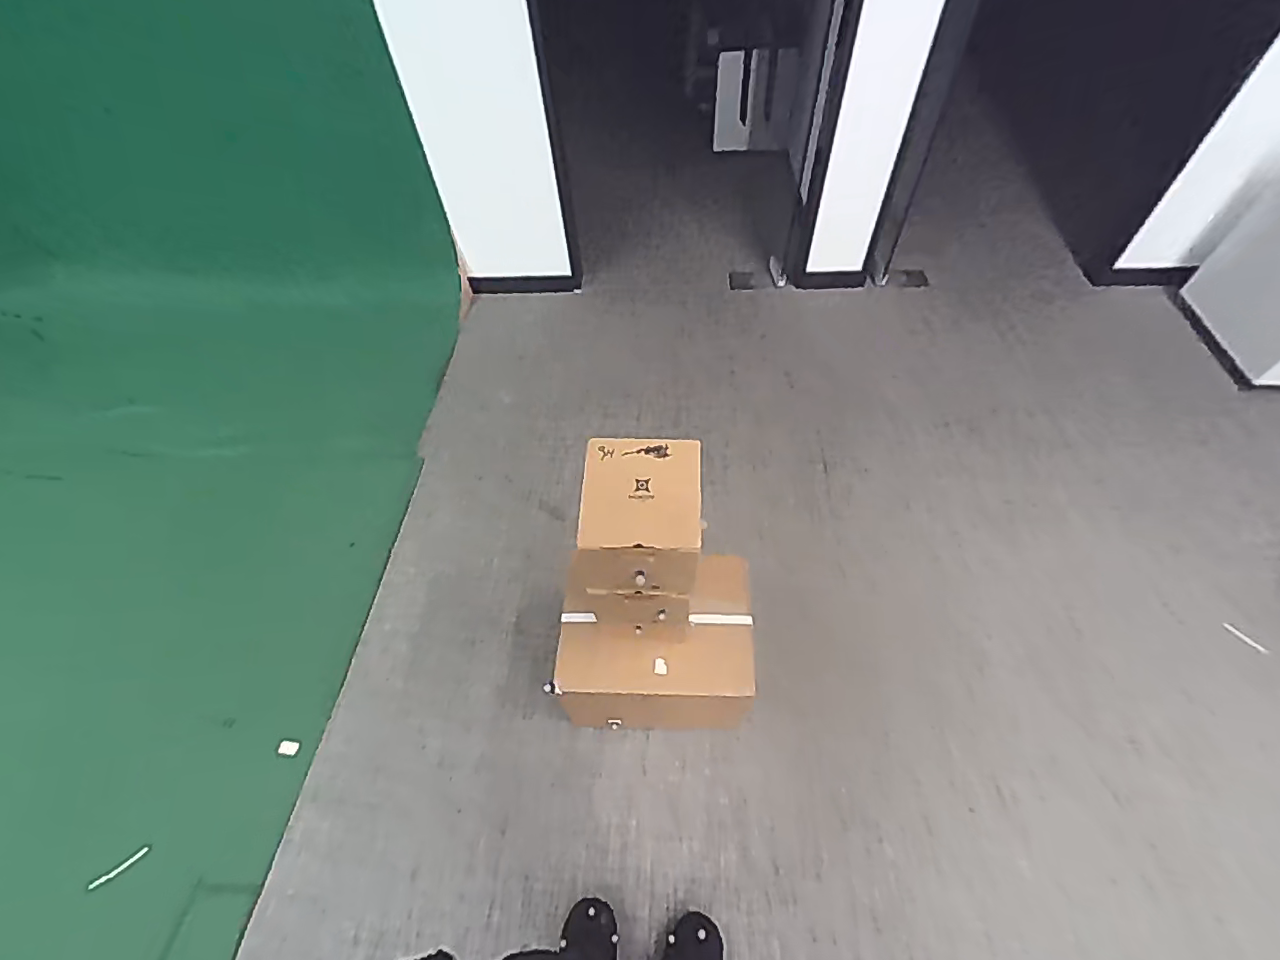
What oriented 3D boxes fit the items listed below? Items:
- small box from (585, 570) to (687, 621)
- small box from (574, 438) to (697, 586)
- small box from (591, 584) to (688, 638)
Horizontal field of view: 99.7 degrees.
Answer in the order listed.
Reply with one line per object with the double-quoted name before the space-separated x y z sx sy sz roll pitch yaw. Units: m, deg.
"small box" 0.001 0.143 0.959 0.168 0.176 0.179 1 59 2
"small box" 0.002 0.054 0.821 0.168 0.176 0.179 2 61 3
"small box" 0.010 0.213 1.102 0.179 0.176 0.168 6 59 7
